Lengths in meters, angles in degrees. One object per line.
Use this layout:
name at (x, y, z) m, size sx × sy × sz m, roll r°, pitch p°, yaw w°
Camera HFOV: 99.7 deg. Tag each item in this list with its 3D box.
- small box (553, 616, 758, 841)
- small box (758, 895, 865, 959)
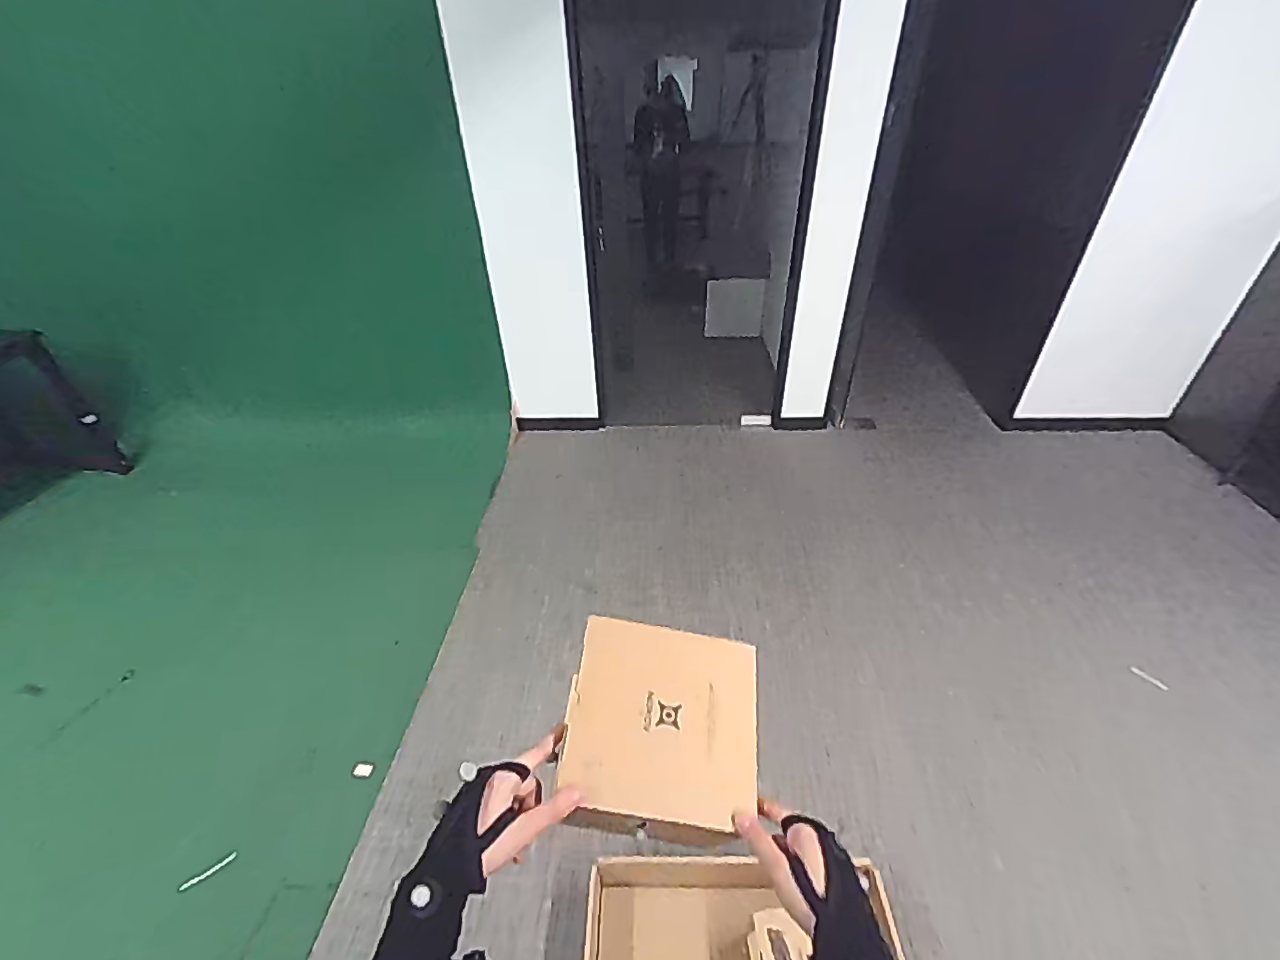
small box at (0.013, 0.261, 0.557) m, size 0.179 × 0.176 × 0.168 m, roll 9°, pitch 52°, yaw -2°
small box at (0.337, 0.956, 1.069) m, size 0.179 × 0.176 × 0.168 m, roll -5°, pitch 38°, yaw -3°
